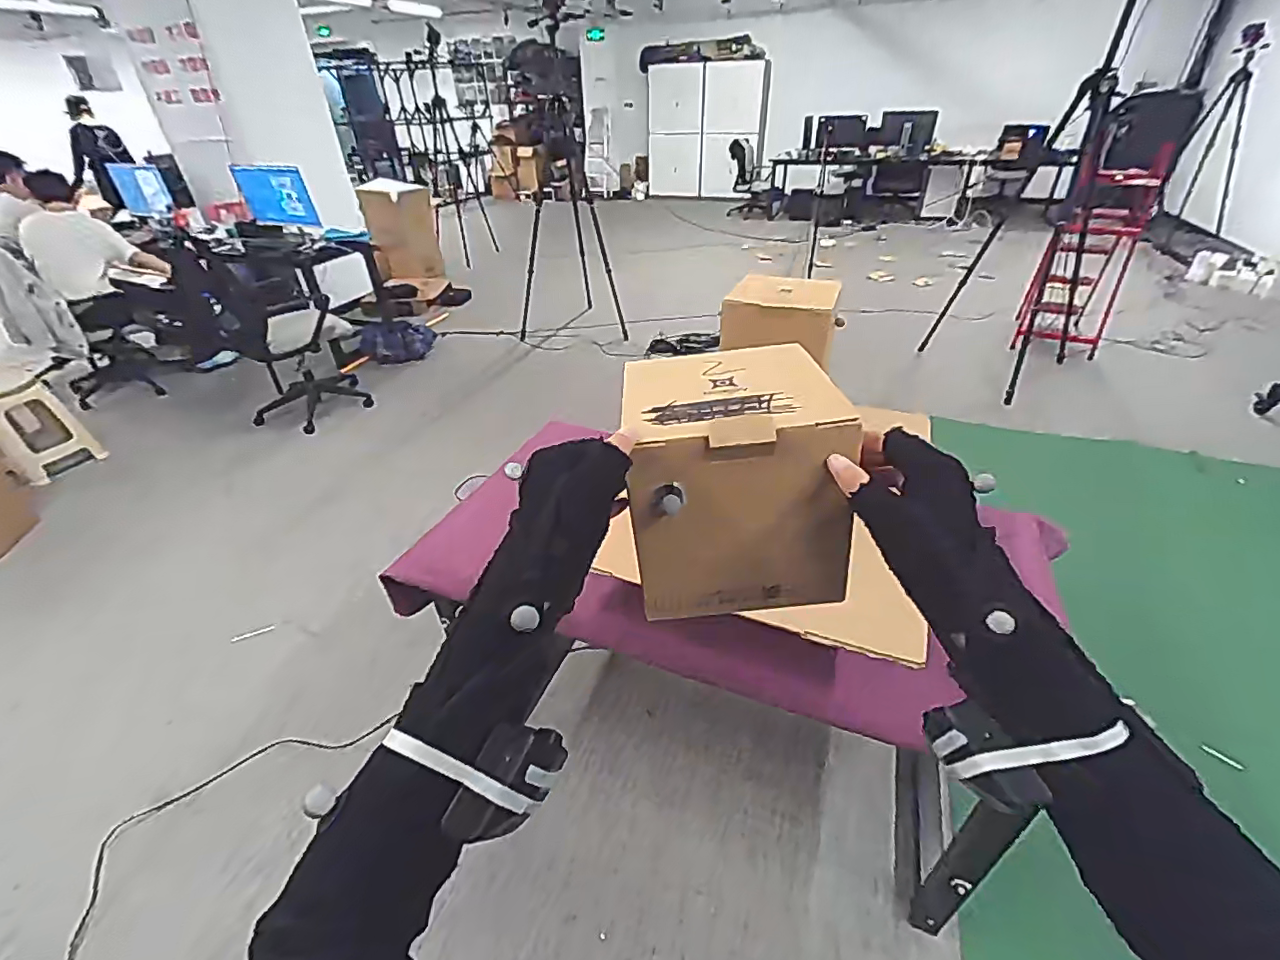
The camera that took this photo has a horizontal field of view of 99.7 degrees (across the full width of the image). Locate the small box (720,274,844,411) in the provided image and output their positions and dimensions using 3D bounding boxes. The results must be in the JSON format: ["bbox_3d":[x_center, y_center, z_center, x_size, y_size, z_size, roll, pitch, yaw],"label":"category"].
[{"bbox_3d":[0.237,-0.237,0.915,0.168,0.176,0.179,12,36,18],"label":"small box"}]

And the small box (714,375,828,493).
[{"bbox_3d":[0.239,-0.101,1.006,0.168,0.176,0.179,13,36,20],"label":"small box"}]
